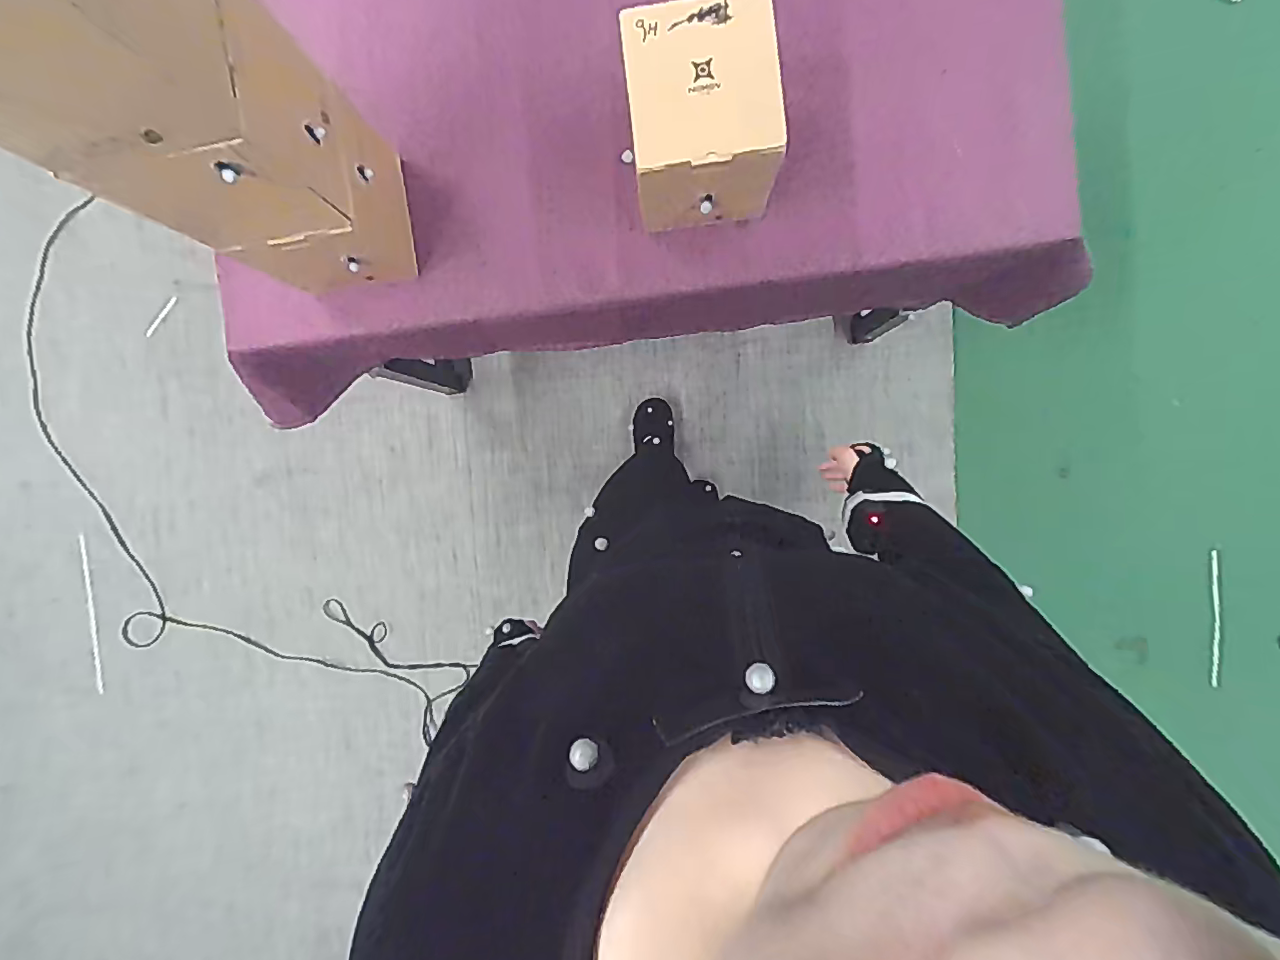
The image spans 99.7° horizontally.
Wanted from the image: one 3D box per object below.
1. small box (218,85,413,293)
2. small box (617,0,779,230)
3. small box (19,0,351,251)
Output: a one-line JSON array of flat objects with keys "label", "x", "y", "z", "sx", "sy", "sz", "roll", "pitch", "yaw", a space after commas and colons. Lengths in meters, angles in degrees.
[{"label": "small box", "x": -0.414, "y": -0.355, "z": 0.699, "sx": 0.168, "sy": 0.176, "sz": 0.179, "roll": -8, "pitch": 91, "yaw": 2}, {"label": "small box", "x": 0.069, "y": -0.429, "z": 0.669, "sx": 0.168, "sy": 0.176, "sz": 0.179, "roll": -6, "pitch": 92, "yaw": 3}, {"label": "small box", "x": -0.427, "y": -0.349, "z": 0.537, "sx": 0.179, "sy": 0.176, "sz": 0.168, "roll": -10, "pitch": 92, "yaw": 2}]
